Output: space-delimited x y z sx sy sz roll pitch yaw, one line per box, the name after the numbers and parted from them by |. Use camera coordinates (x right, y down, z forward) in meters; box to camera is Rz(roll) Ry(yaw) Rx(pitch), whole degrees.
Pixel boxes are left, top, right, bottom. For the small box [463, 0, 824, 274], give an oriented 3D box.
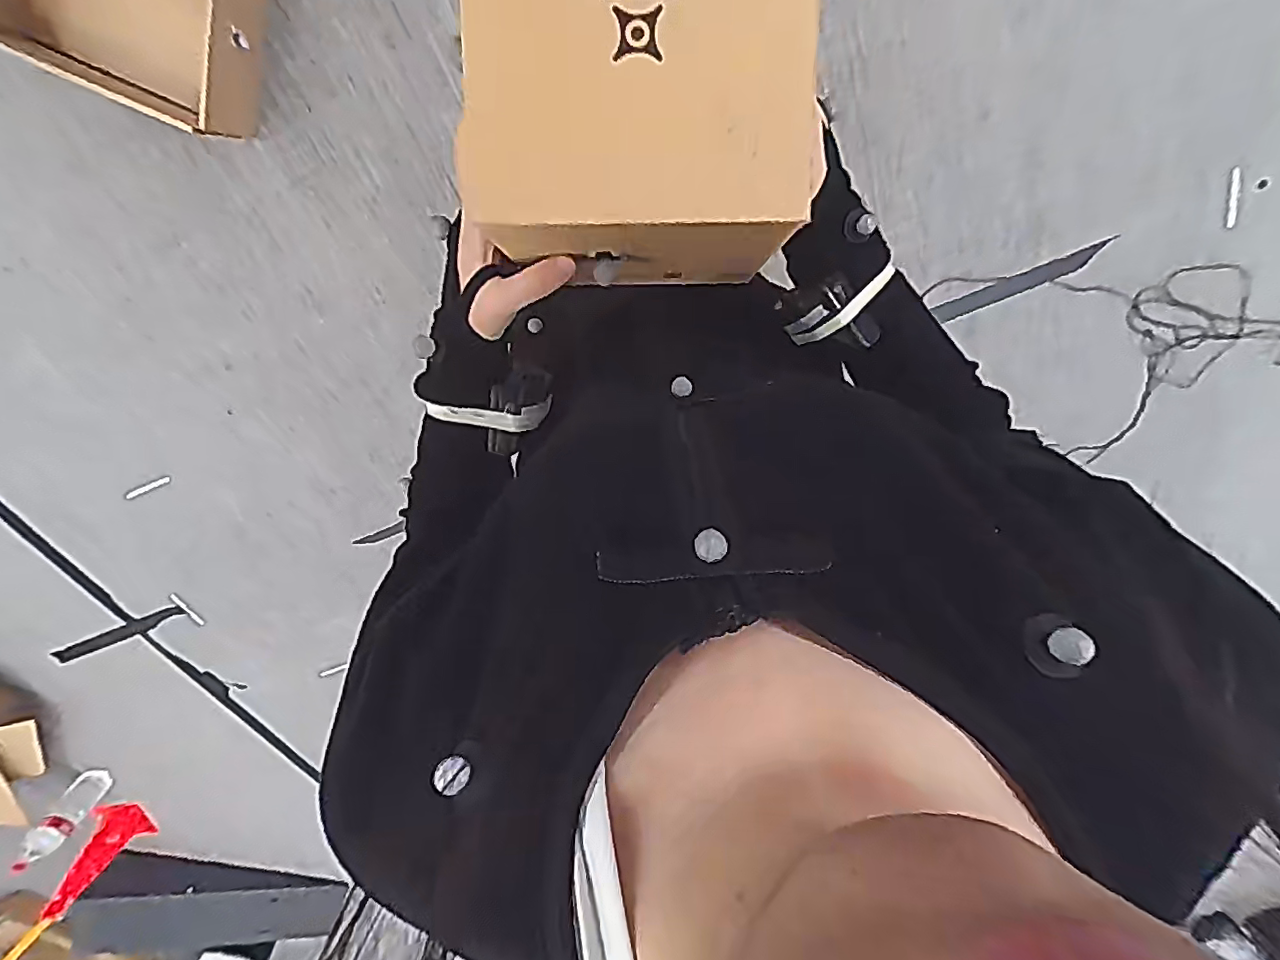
0.003 -0.227 0.323 0.168 0.176 0.179 -1 99 1 | small box
